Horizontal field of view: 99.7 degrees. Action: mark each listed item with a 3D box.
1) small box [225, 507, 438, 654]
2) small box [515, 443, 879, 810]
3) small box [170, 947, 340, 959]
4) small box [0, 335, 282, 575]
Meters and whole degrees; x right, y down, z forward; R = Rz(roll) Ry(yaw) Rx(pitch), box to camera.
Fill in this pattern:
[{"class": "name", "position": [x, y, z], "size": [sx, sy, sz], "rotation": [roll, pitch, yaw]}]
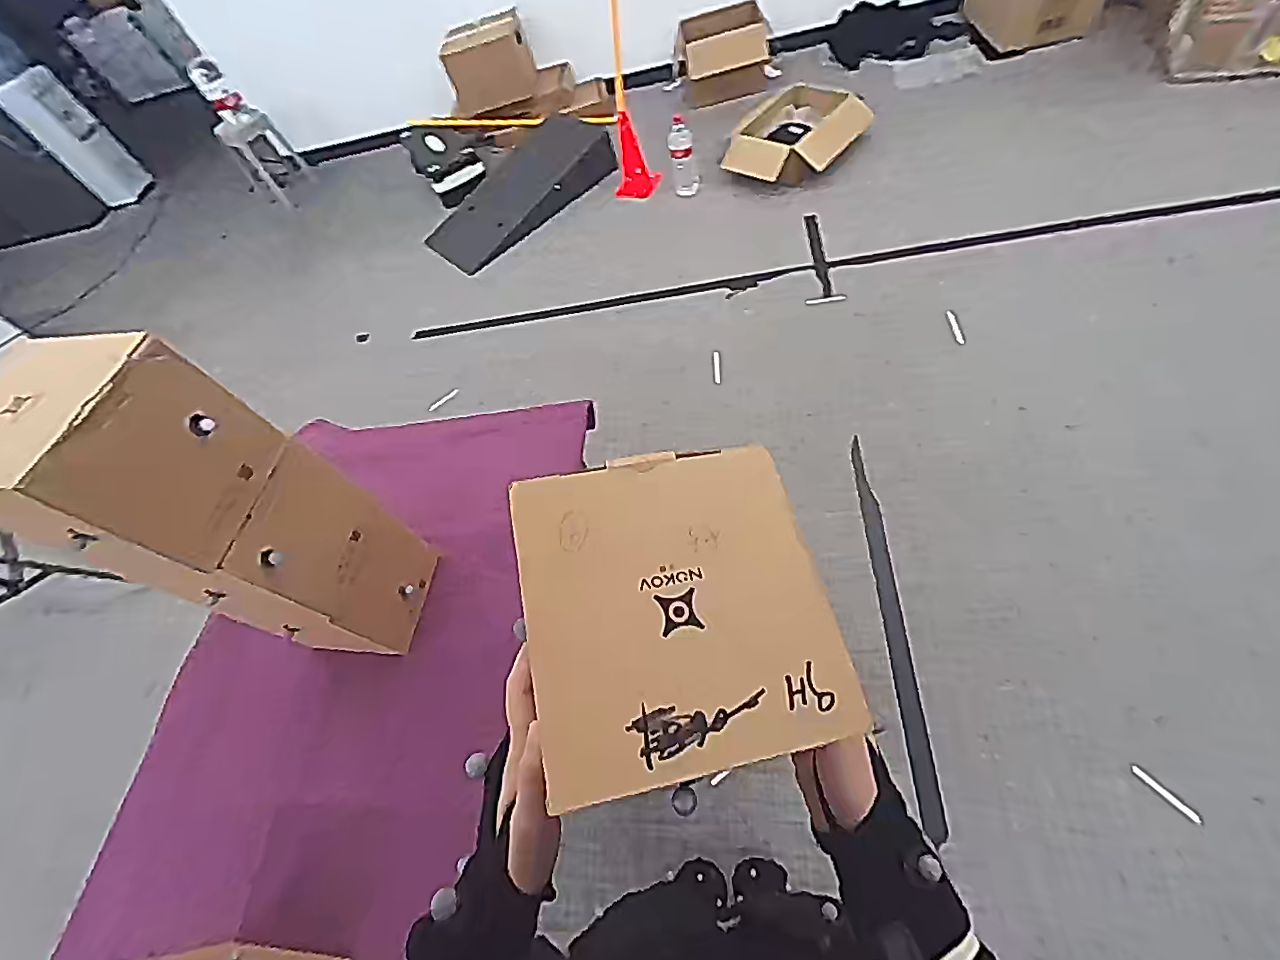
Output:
[{"class": "small box", "position": [-0.436, 0.151, 0.795], "size": [0.179, 0.176, 0.168], "rotation": [0, 59, 14]}, {"class": "small box", "position": [0.017, 0.101, 0.361], "size": [0.168, 0.176, 0.179], "rotation": [-10, 62, -7]}, {"class": "small box", "position": [-0.425, 0.579, 0.523], "size": [0.179, 0.176, 0.168], "rotation": [-4, 58, 12]}, {"class": "small box", "position": [-0.501, -0.016, 0.522], "size": [0.179, 0.176, 0.168], "rotation": [0, 58, 16]}]
